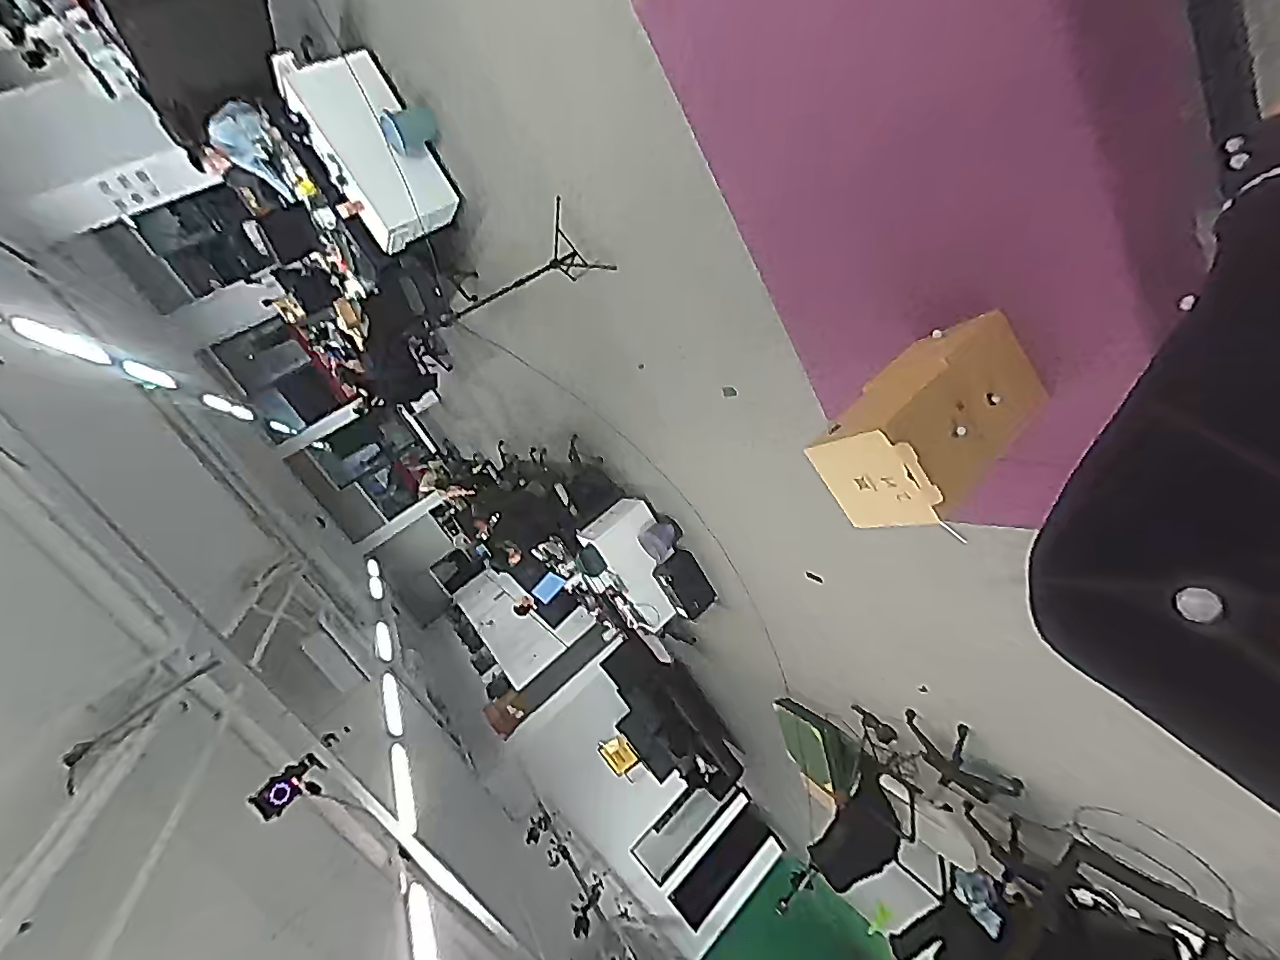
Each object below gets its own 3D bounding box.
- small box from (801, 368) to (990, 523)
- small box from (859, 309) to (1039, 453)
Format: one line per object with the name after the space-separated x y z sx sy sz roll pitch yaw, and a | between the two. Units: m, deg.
0.400 -0.049 0.855 0.168 0.176 0.179 54 159 -7 | small box
0.519 -0.152 0.908 0.179 0.176 0.168 55 158 -8 | small box
